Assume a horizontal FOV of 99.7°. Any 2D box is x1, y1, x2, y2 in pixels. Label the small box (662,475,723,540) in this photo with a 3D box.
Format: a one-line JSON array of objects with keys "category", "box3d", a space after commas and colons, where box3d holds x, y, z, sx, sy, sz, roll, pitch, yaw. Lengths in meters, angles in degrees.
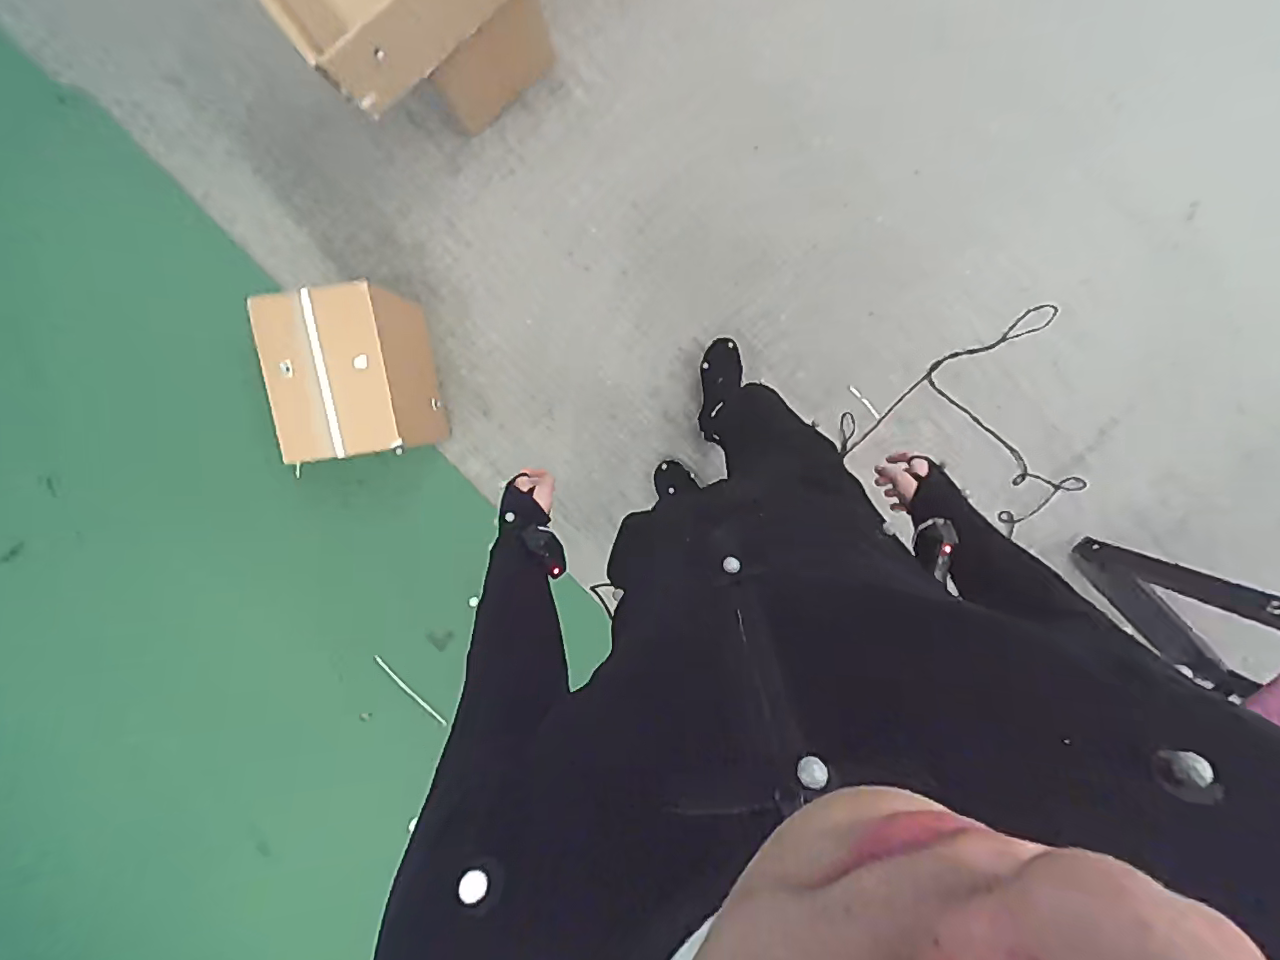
[{"category": "small box", "box3d": [0.157, 0.076, 1.575, 0.168, 0.176, 0.179, -1, 94, 10]}]
